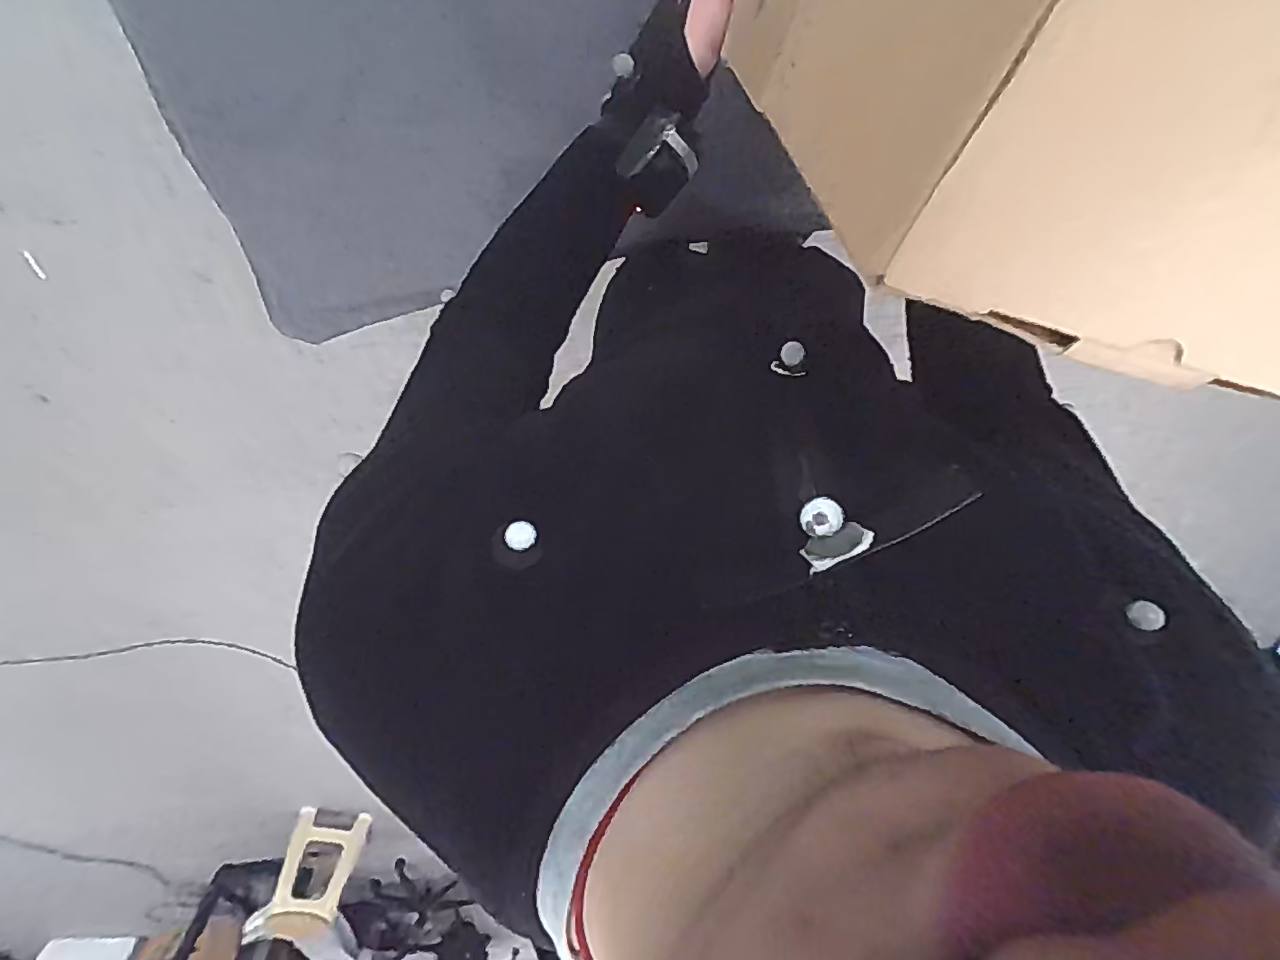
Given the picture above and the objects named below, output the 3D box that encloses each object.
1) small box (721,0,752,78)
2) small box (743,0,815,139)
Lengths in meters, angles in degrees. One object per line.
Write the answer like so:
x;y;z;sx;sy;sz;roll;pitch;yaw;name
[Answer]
0.161;-0.370;0.367;0.168;0.176;0.179;11;134;-9;small box
0.158;-0.257;0.251;0.168;0.176;0.179;11;134;-11;small box
